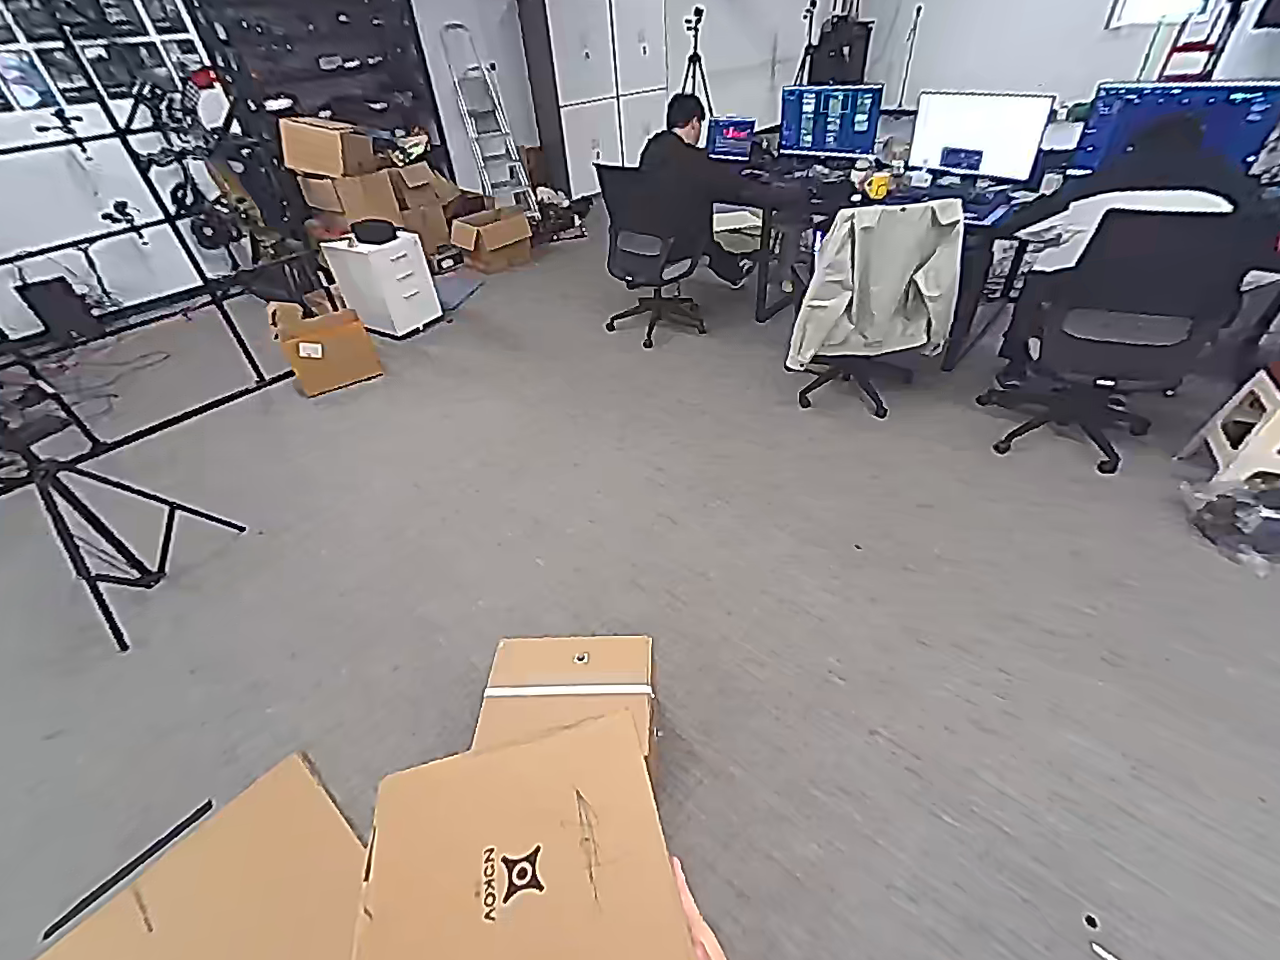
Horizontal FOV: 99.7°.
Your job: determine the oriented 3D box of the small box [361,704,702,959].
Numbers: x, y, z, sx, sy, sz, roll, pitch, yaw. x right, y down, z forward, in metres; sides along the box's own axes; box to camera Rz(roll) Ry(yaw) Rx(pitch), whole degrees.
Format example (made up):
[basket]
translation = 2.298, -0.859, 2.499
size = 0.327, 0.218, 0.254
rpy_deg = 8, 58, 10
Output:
[small box]
translation = -0.060, 0.287, 0.356
size = 0.179, 0.176, 0.168
rpy_deg = -13, 37, -9
